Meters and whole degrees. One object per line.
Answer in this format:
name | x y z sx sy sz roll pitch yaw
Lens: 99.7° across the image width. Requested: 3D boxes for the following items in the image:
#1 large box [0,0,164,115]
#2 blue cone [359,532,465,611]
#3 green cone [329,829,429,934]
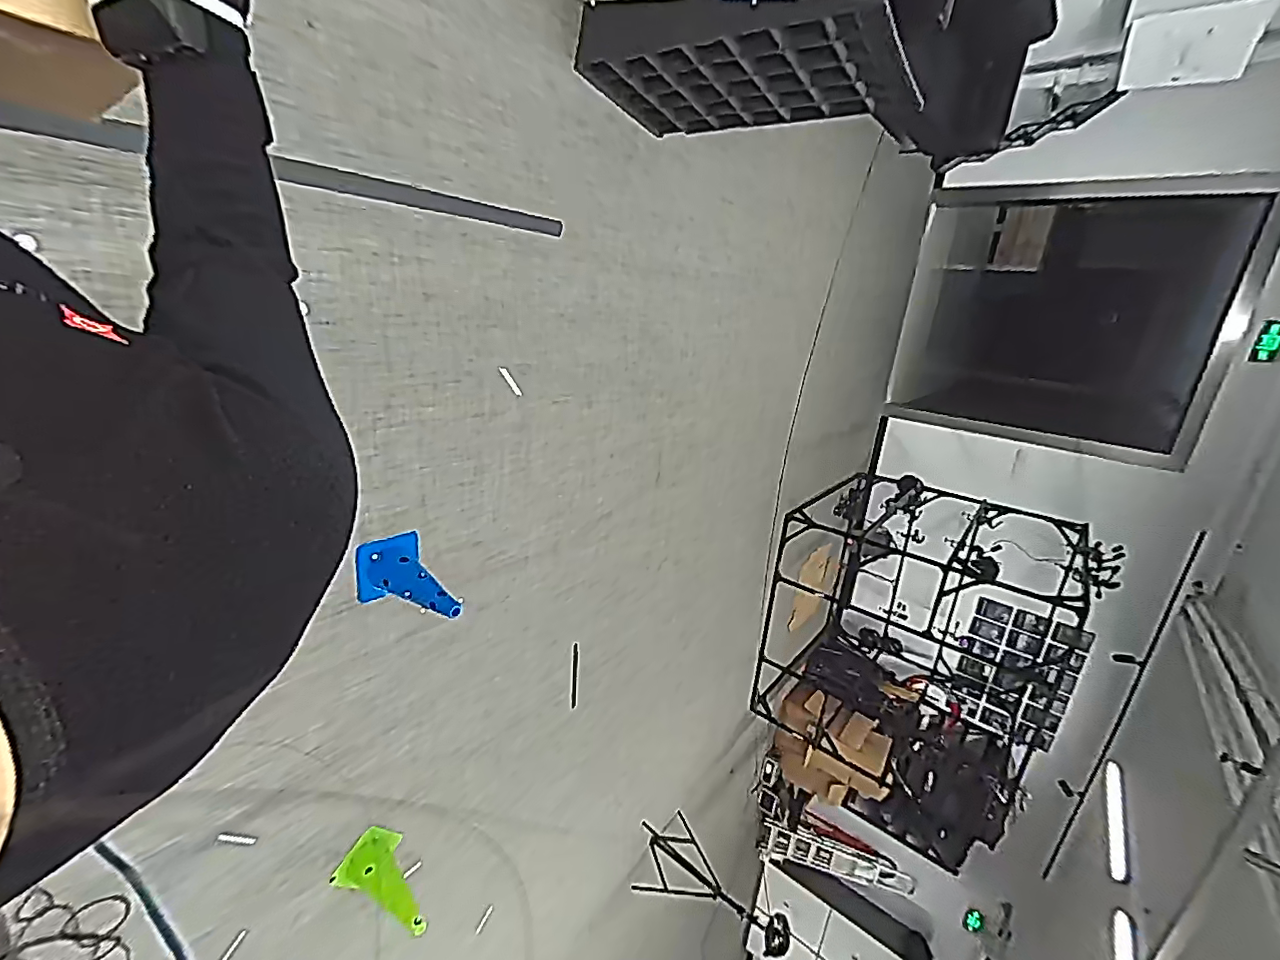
large box | -0.568 -0.448 0.278 0.408 0.320 0.320 -15 117 -50
blue cone | -0.660 0.309 1.613 0.192 0.380 0.193 -14 116 -52
green cone | -0.841 1.404 1.836 0.202 0.368 0.200 -55 143 -26
